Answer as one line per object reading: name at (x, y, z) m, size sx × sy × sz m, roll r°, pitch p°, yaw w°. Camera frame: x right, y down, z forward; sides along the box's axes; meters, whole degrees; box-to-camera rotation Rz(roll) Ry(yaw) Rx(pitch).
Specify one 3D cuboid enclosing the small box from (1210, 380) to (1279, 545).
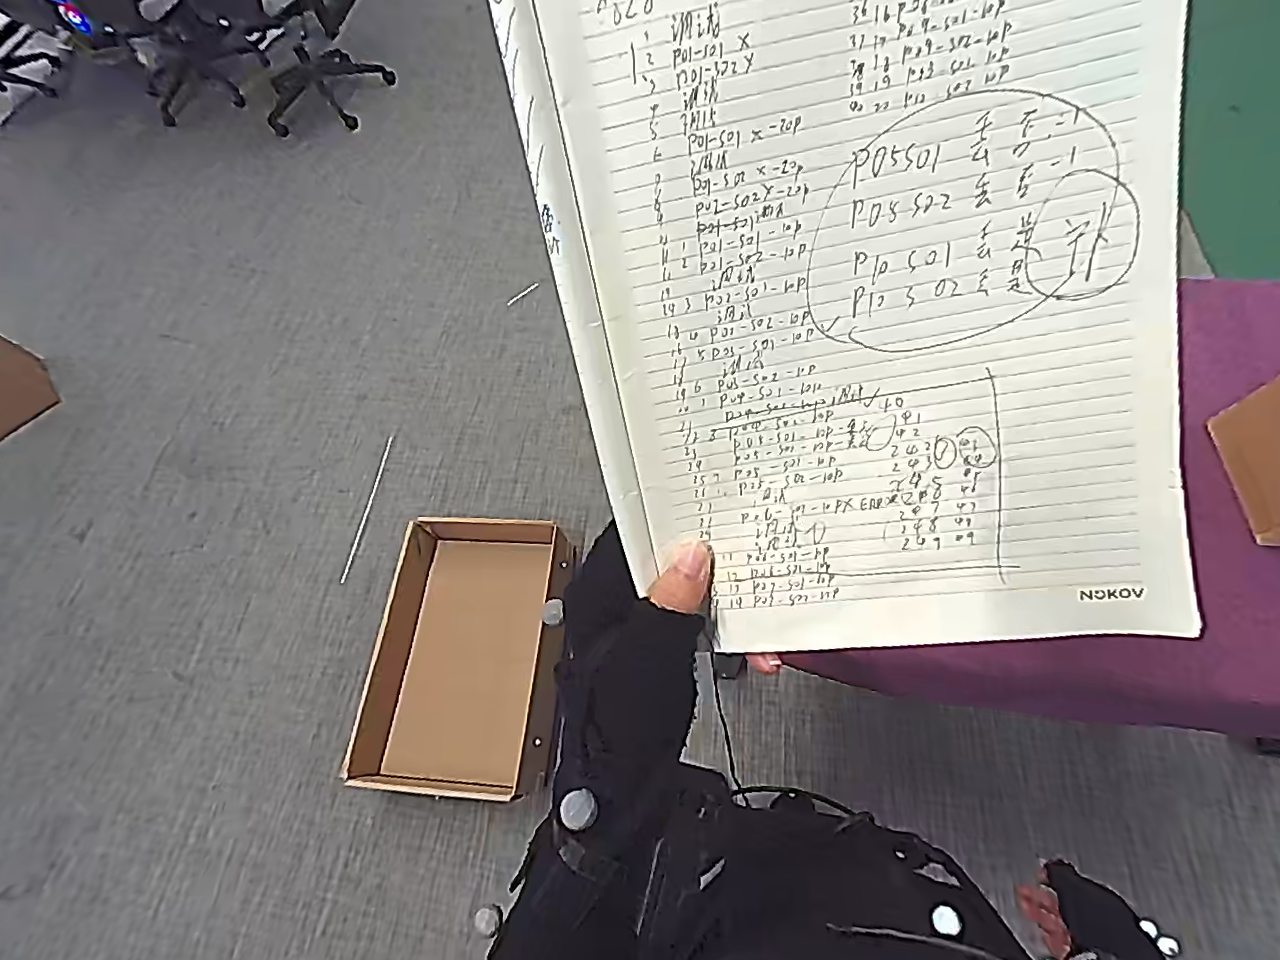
small box at (0.808, -0.024, 0.594) m, size 0.168 × 0.176 × 0.179 m, roll 2°, pitch 64°, yaw 9°

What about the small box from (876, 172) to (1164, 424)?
small box at (0.346, -0.171, 0.539) m, size 0.168 × 0.176 × 0.179 m, roll 3°, pitch 62°, yaw 9°
